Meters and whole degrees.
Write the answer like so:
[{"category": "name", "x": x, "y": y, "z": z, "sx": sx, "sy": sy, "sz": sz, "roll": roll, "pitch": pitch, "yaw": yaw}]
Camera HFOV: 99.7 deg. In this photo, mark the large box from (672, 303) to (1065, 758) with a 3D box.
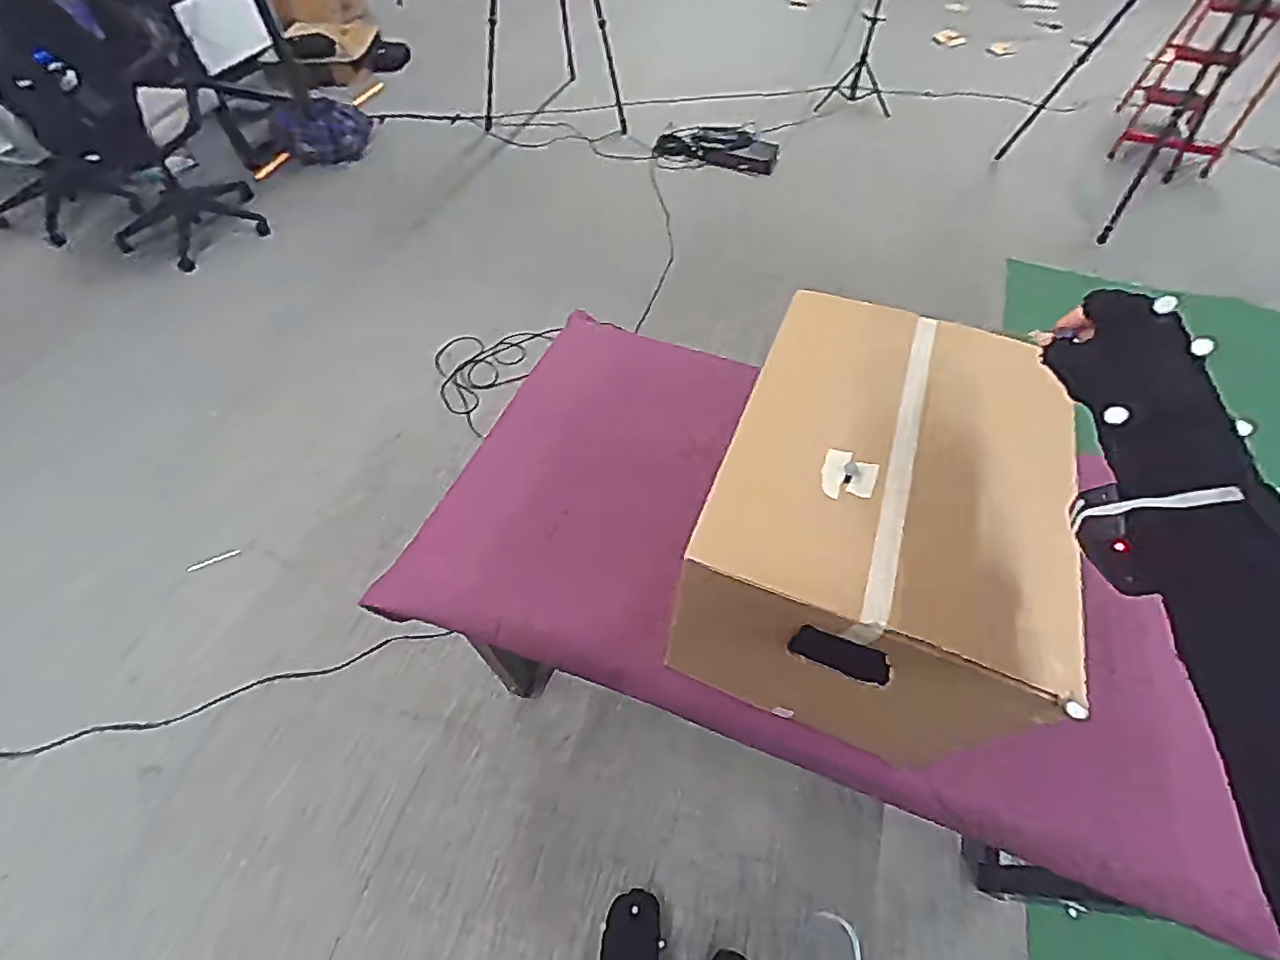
[{"category": "large box", "x": 0.258, "y": 0.059, "z": 0.669, "sx": 0.320, "sy": 0.320, "sz": 0.408, "roll": 20, "pitch": 58, "yaw": 13}]
